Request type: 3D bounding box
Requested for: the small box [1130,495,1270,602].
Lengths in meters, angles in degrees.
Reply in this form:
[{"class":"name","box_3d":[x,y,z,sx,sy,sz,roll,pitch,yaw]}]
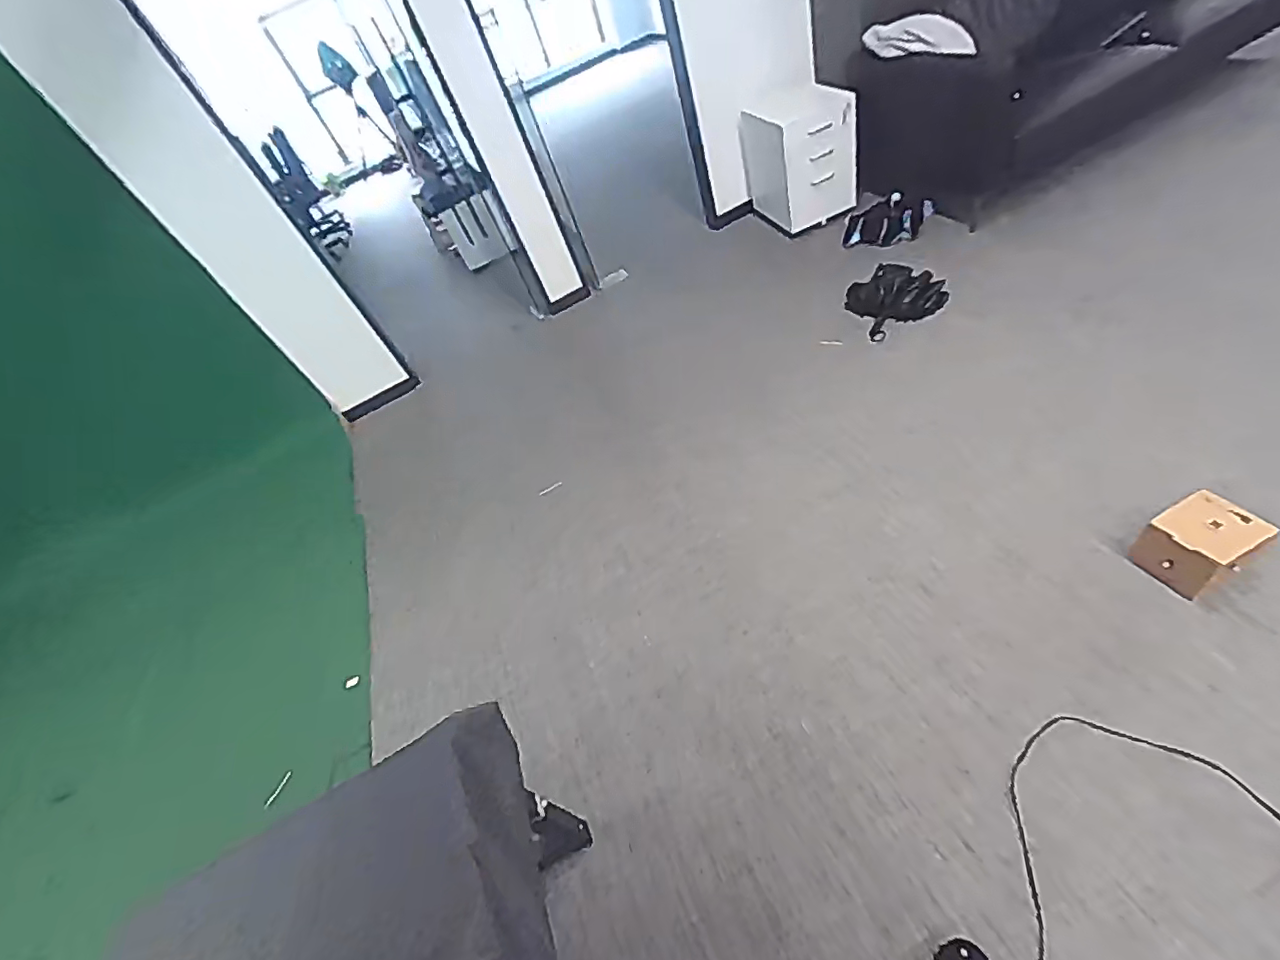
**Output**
[{"class":"small box","box_3d":[1.406,0.178,1.378,0.179,0.176,0.168,-29,44,-4]}]
